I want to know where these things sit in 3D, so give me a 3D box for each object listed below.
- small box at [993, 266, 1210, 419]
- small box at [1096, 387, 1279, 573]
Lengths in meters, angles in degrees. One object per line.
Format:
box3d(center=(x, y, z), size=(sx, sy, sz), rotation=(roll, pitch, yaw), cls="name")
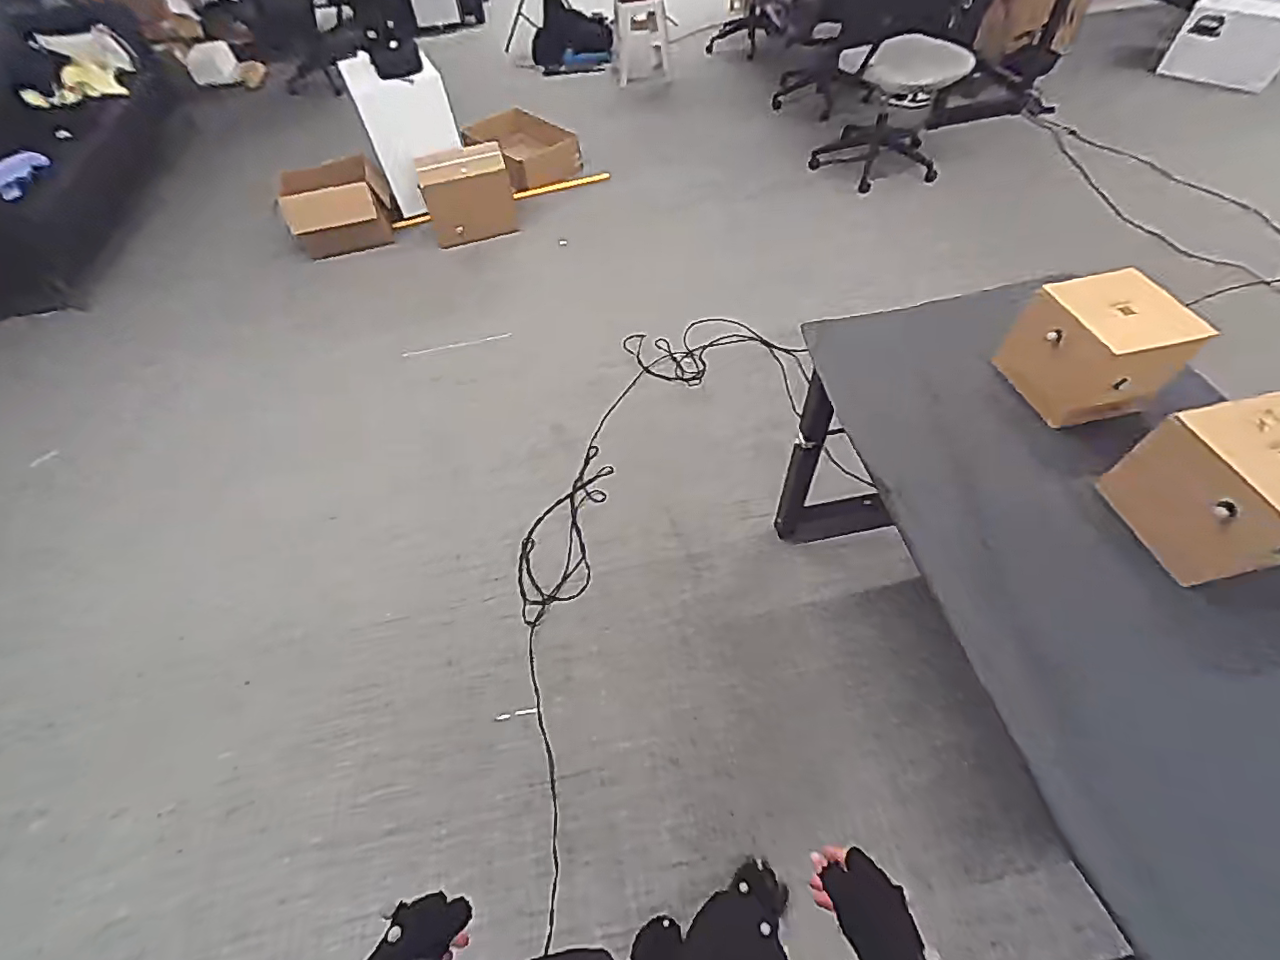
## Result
box3d(center=(0.735, -0.217, 0.888), size=(0.168, 0.176, 0.179), rotation=(-12, 54, -4), cls="small box")
box3d(center=(0.780, 0.009, 0.718), size=(0.168, 0.176, 0.179), rotation=(-12, 54, -4), cls="small box")
